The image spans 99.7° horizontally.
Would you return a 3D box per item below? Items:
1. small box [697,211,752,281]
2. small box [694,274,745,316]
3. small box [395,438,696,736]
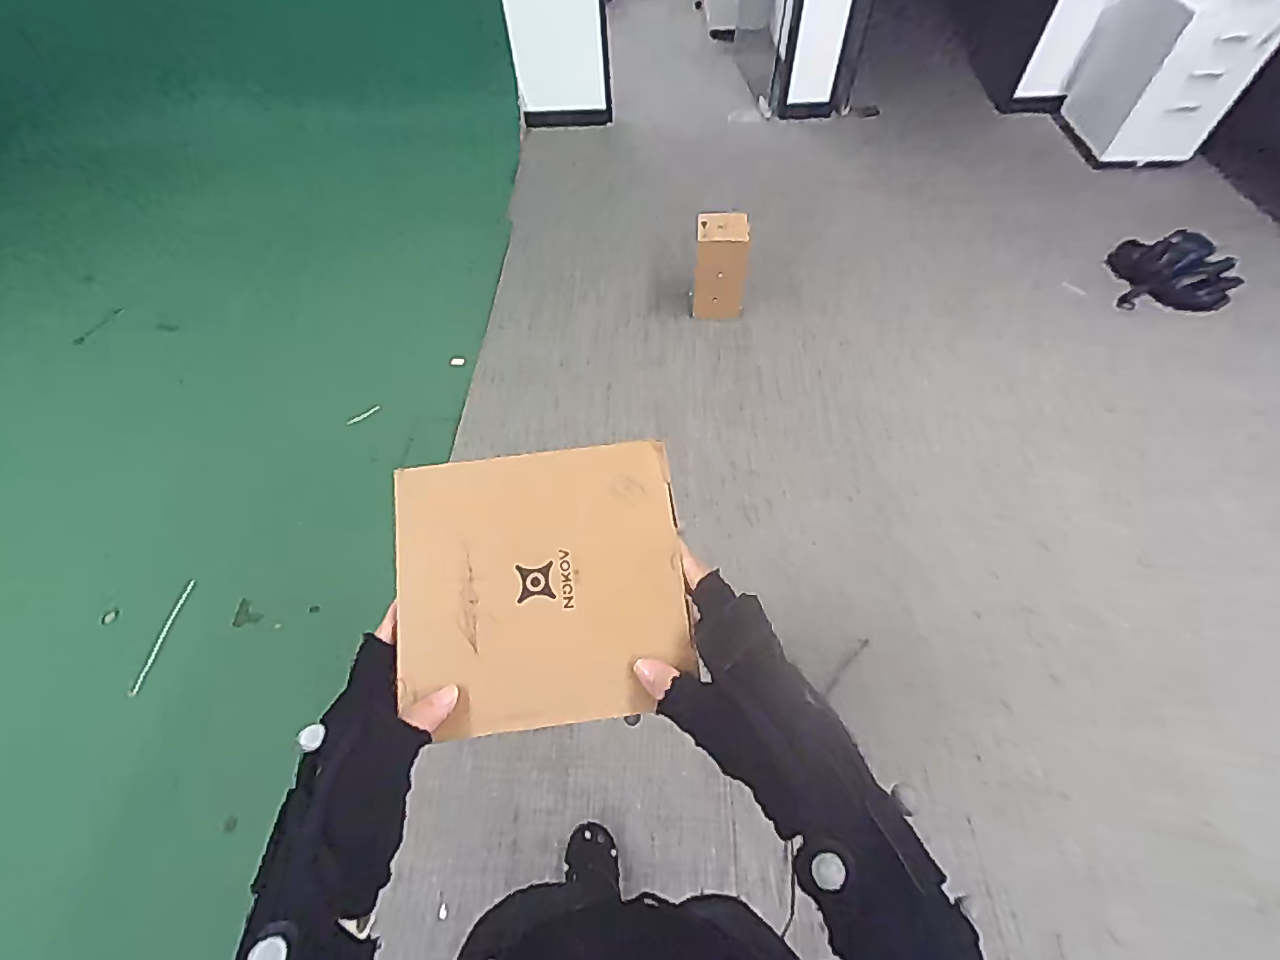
[{"bbox_3d":[0.297,-0.829,1.925,0.179,0.176,0.168,3,57,4],"label":"small box"},{"bbox_3d":[0.302,-0.744,2.062,0.179,0.176,0.168,4,55,6],"label":"small box"},{"bbox_3d":[-0.063,0.081,0.412,0.179,0.176,0.168,-8,74,-2],"label":"small box"}]
